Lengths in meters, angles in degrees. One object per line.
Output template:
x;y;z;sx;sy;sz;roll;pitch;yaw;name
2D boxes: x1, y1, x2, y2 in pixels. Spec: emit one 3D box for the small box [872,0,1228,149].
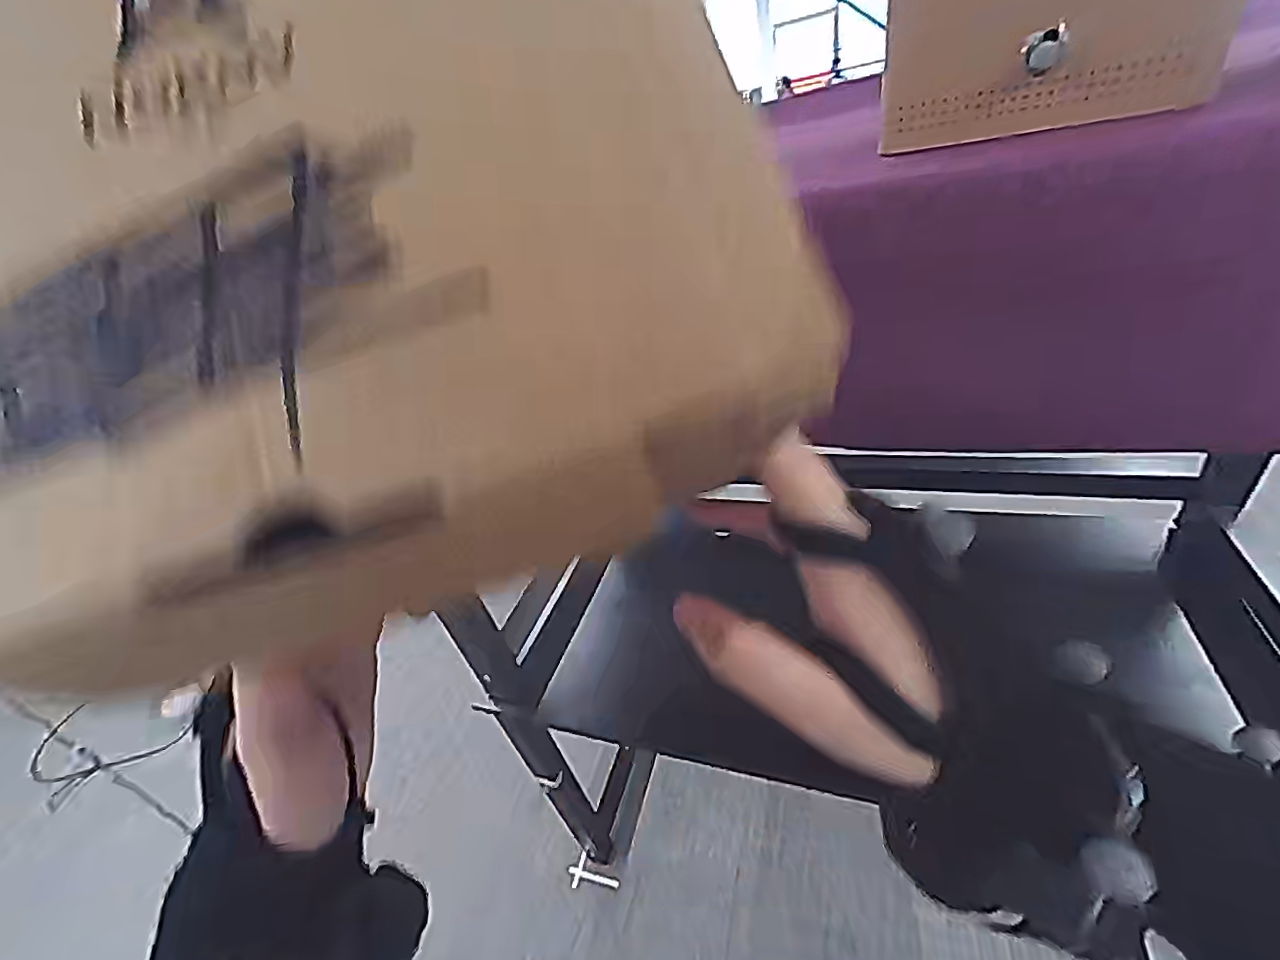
0.253;-0.332;0.347;0.179;0.176;0.168;4;38;24;small box
